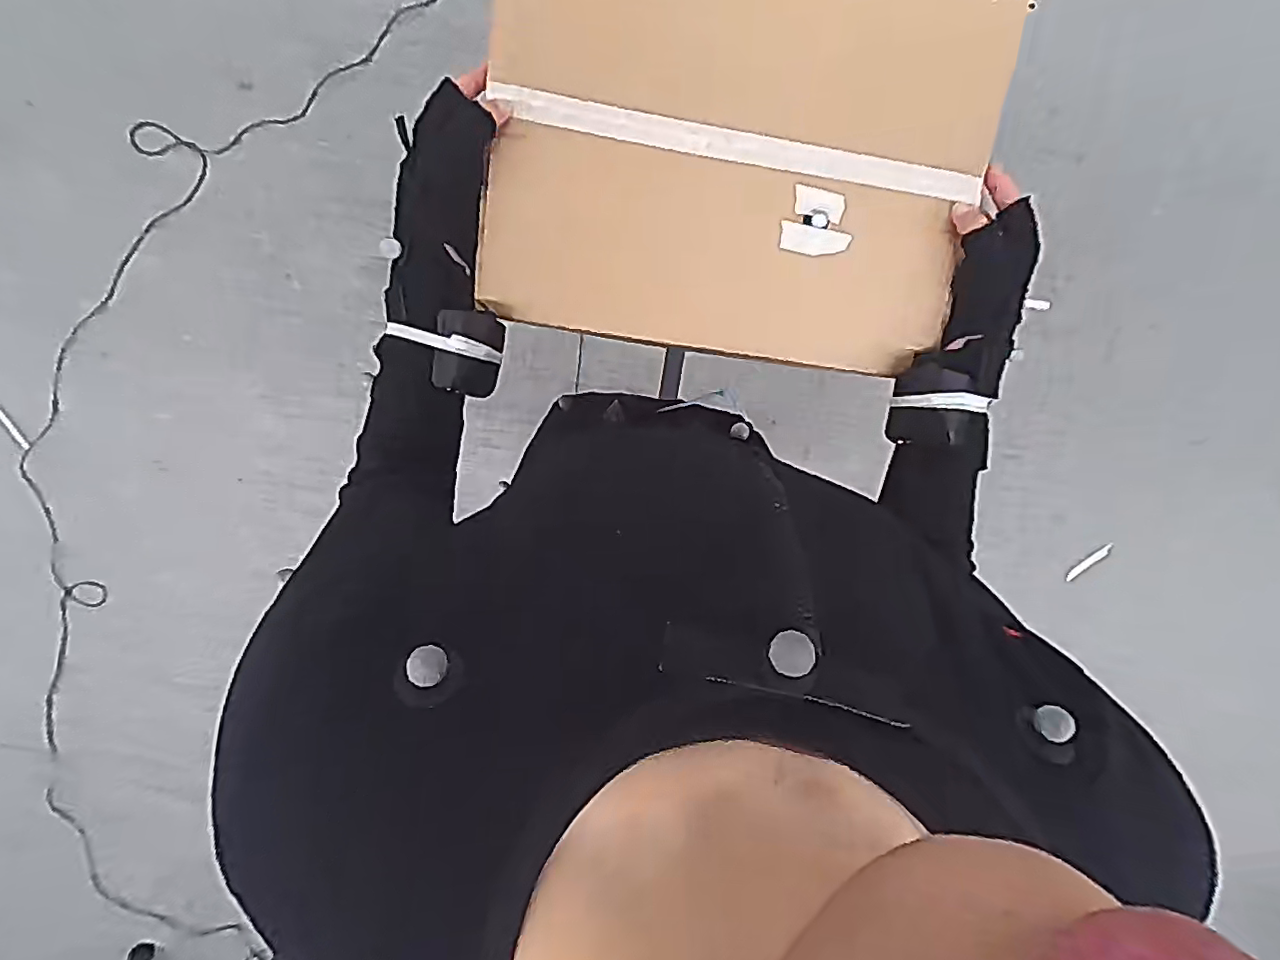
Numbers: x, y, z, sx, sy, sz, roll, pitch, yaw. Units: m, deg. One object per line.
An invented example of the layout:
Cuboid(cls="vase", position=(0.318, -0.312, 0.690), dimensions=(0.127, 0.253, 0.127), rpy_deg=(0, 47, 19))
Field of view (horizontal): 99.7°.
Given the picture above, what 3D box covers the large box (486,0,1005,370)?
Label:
Cuboid(cls="large box", position=(0.065, -0.304, 0.587), dimensions=(0.408, 0.320, 0.320), rpy_deg=(6, 105, -8))
